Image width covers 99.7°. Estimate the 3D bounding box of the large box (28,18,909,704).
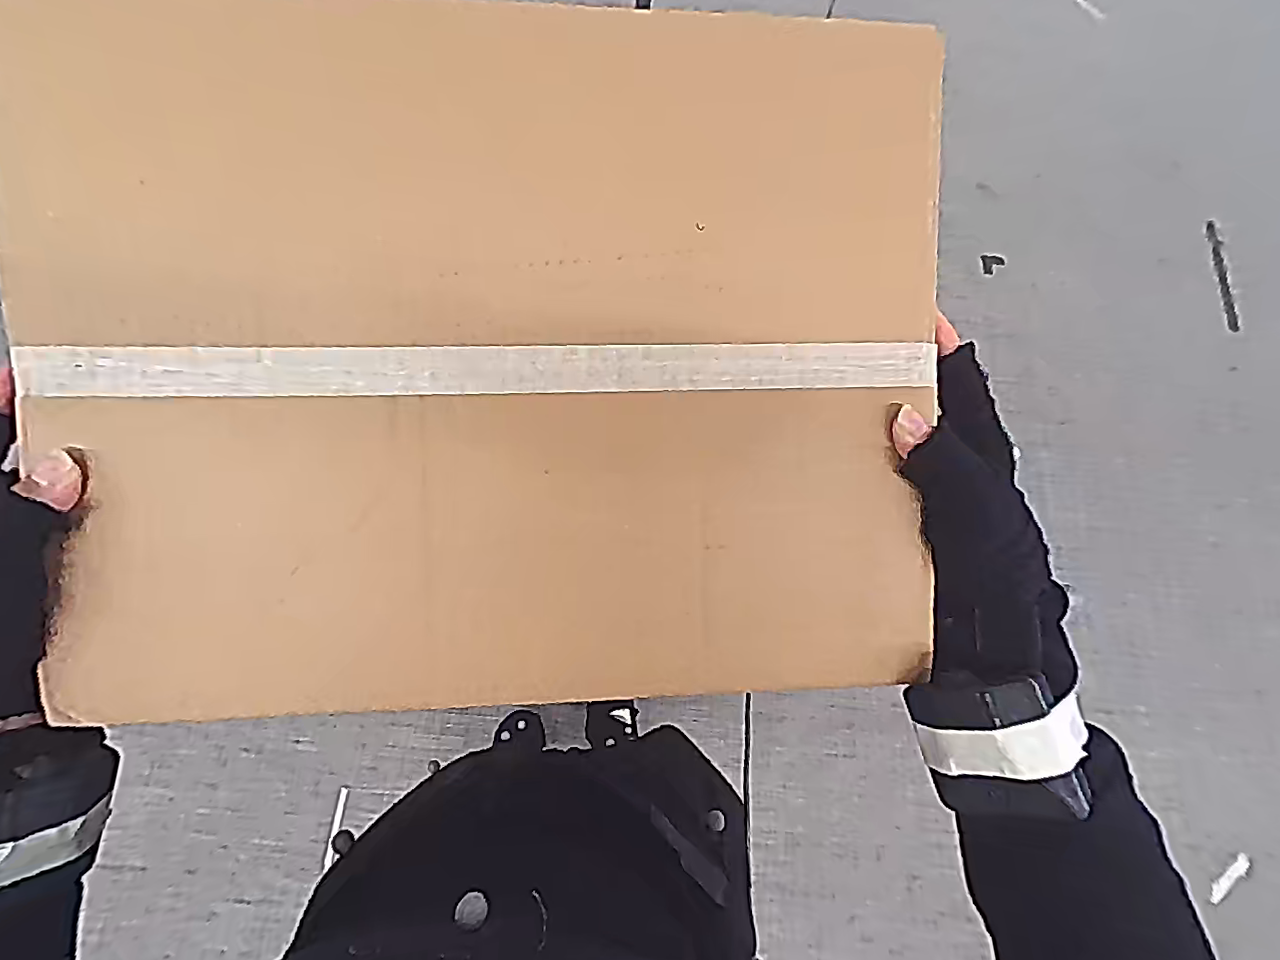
[{"bbox_3d":[-0.075,-0.062,0.406,0.408,0.320,0.320,-1,93,-5],"label":"large box"}]
